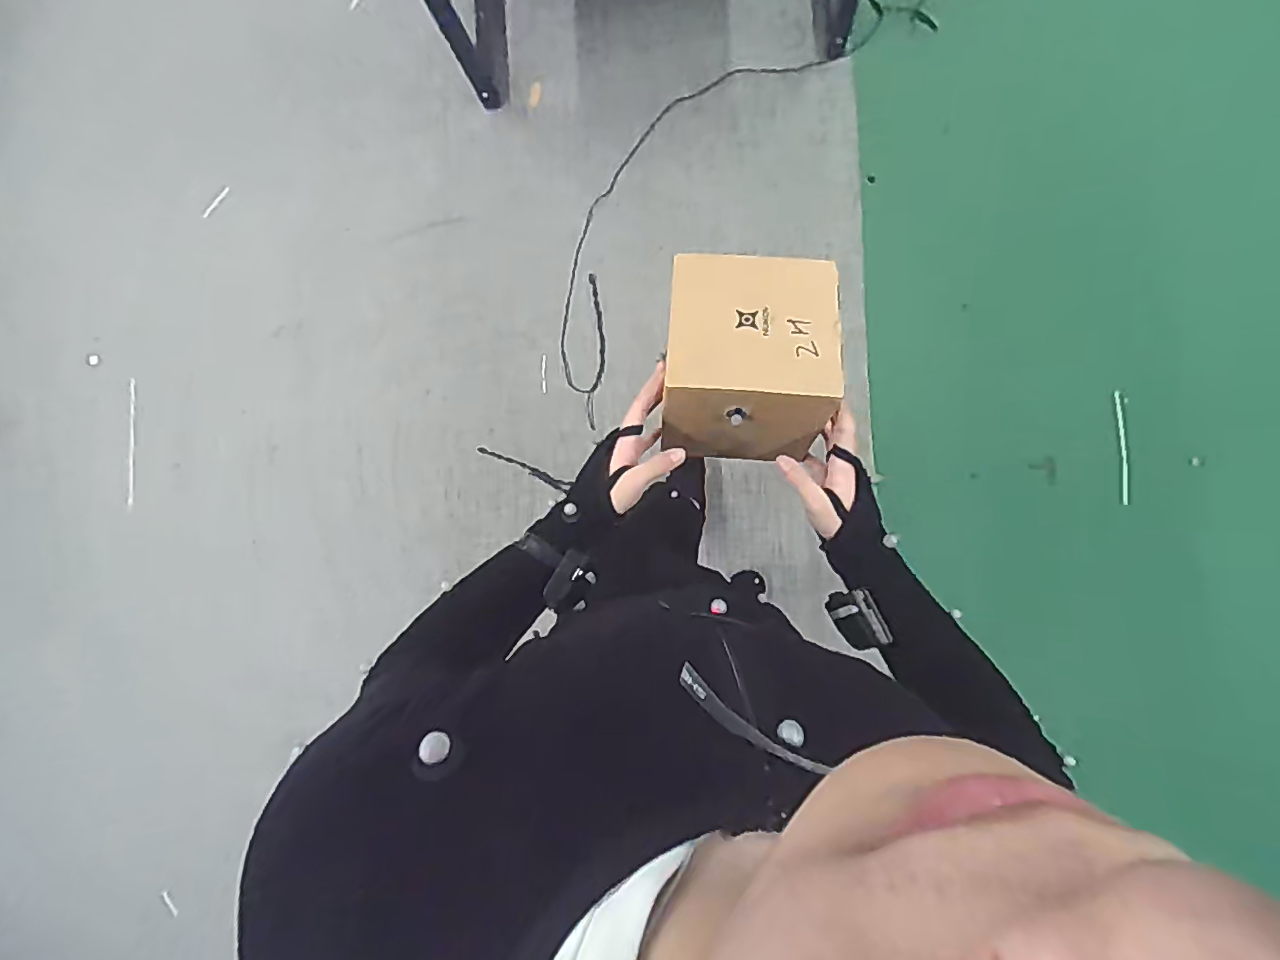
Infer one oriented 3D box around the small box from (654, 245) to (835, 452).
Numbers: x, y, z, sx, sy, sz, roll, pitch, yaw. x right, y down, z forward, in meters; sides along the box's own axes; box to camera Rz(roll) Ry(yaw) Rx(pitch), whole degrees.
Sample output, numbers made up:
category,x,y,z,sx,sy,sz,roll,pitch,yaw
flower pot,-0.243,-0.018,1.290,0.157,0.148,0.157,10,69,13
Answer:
category,x,y,z,sx,sy,sz,roll,pitch,yaw
small box,0.110,-0.142,0.624,0.179,0.176,0.168,5,69,3
